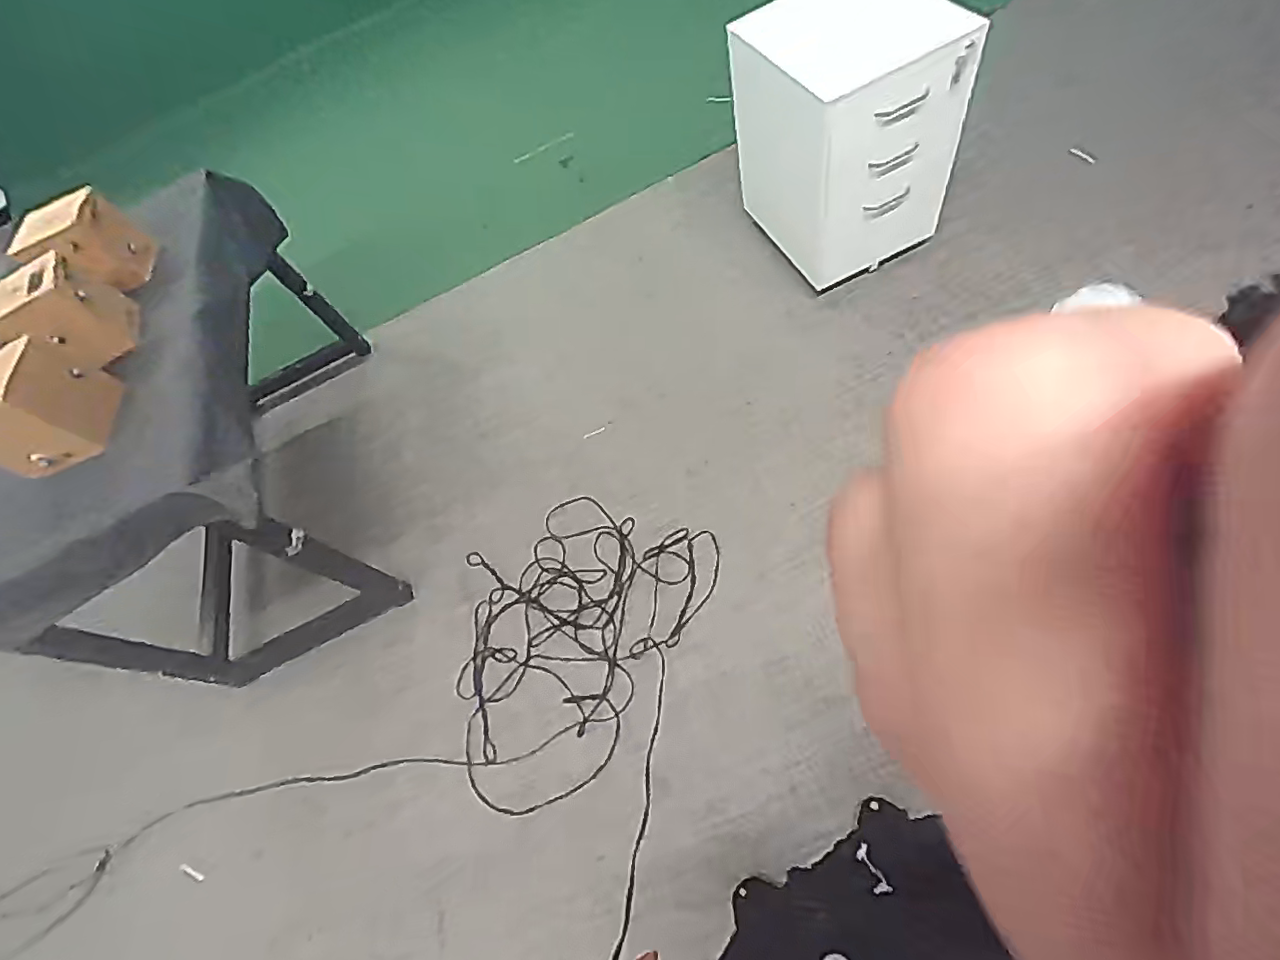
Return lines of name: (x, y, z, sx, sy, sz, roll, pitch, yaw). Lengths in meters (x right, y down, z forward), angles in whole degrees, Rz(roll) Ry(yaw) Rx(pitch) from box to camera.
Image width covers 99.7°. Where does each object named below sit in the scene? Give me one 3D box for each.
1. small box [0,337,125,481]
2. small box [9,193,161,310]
small box: (-1.135, -0.127, 1.018, 0.168, 0.176, 0.179, -23, 59, 4)
small box: (-1.323, -0.543, 1.302, 0.179, 0.176, 0.168, -22, 58, 3)
